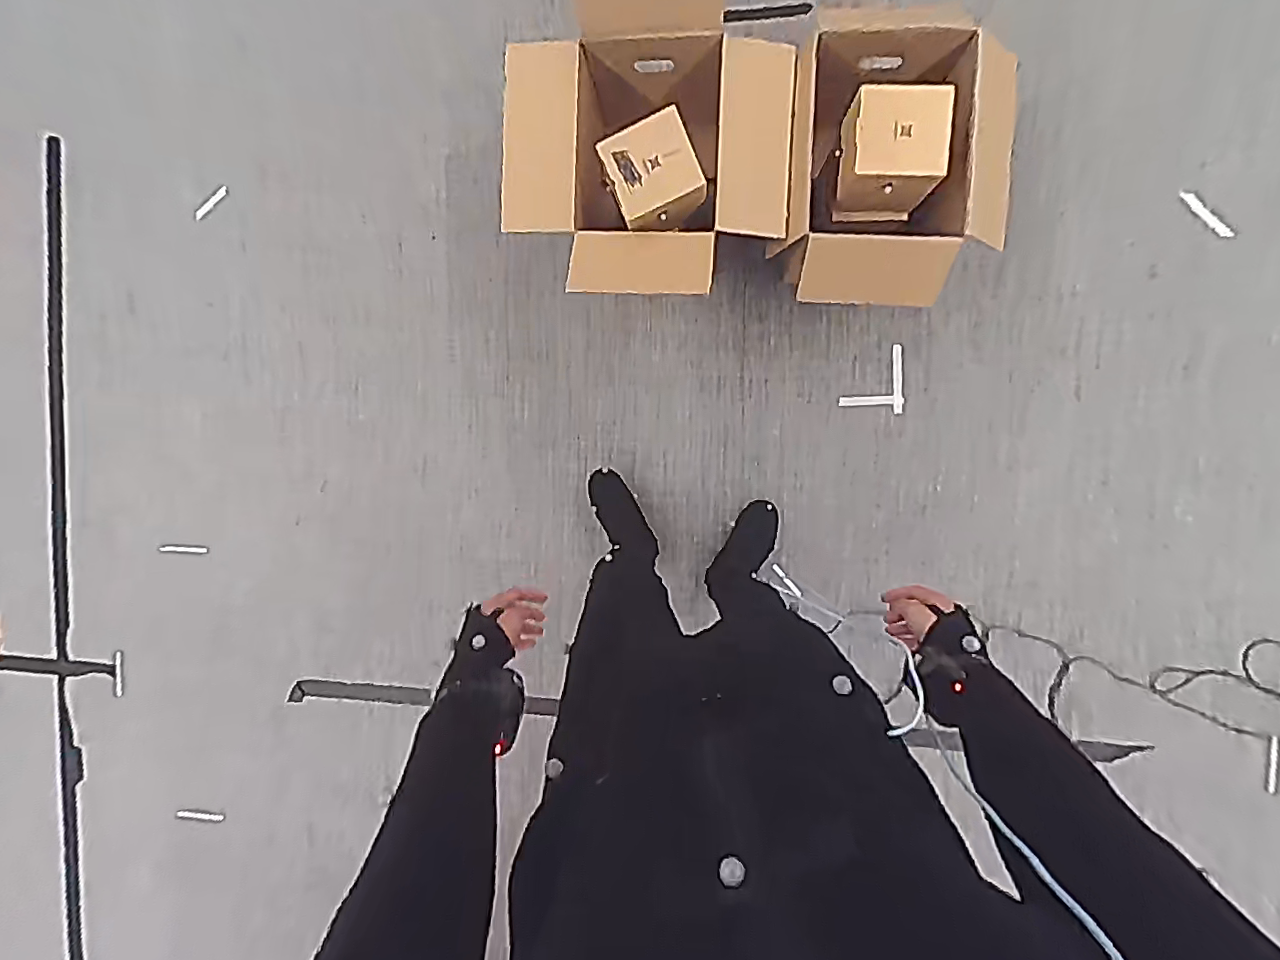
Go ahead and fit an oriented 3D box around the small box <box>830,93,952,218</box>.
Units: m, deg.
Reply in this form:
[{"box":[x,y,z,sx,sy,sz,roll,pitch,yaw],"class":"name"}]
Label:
[{"box":[0.505,-0.656,1.109,0.179,0.176,0.168,3,94,6],"class":"small box"}]
